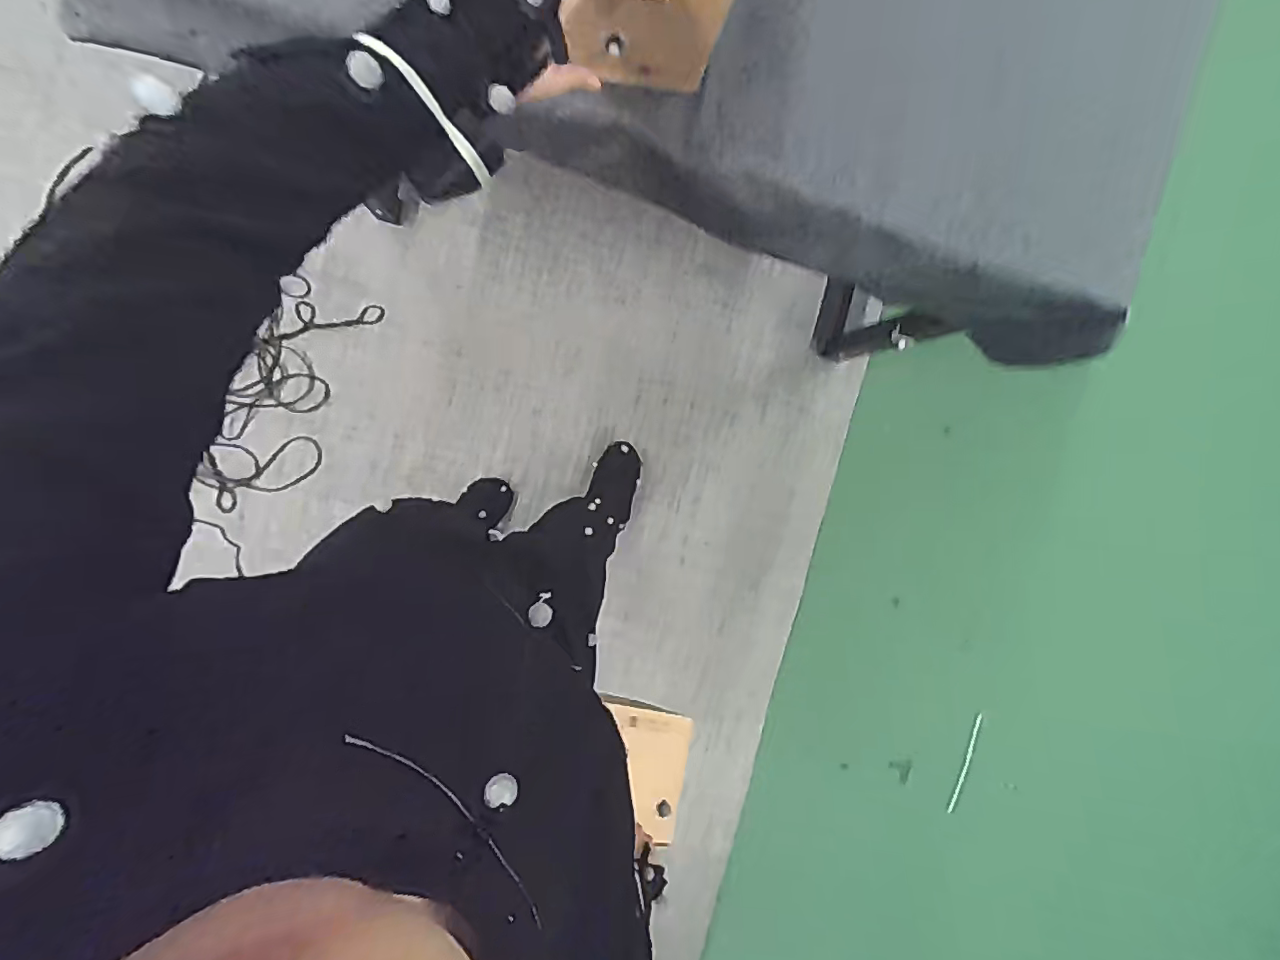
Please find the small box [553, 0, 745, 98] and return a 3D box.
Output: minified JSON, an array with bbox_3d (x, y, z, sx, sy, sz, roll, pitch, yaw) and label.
[{"bbox_3d":[0.007,-0.510,0.505,0.168,0.176,0.179,3,94,-10],"label":"small box"}]
